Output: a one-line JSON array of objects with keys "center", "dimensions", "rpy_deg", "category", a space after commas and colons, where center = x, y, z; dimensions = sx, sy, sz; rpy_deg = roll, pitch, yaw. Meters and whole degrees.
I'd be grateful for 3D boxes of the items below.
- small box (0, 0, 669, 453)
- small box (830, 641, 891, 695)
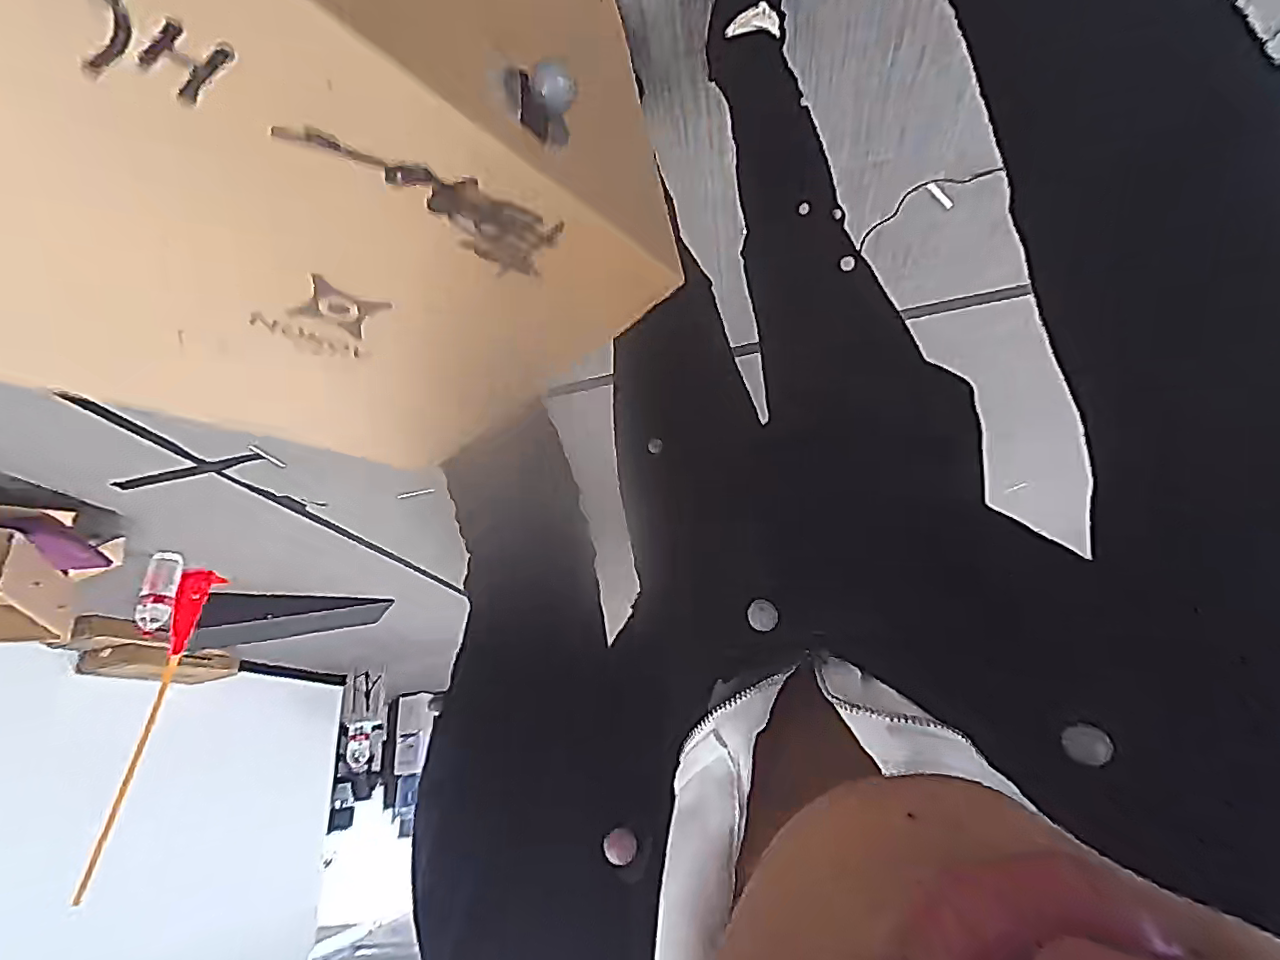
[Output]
[{"center": [-0.115, -0.132, 0.206], "dimensions": [0.179, 0.176, 0.168], "rpy_deg": [-25, 155, 35], "category": "small box"}, {"center": [0.858, 0.738, 2.122], "dimensions": [0.168, 0.176, 0.179], "rpy_deg": [-13, 152, 7], "category": "small box"}]
